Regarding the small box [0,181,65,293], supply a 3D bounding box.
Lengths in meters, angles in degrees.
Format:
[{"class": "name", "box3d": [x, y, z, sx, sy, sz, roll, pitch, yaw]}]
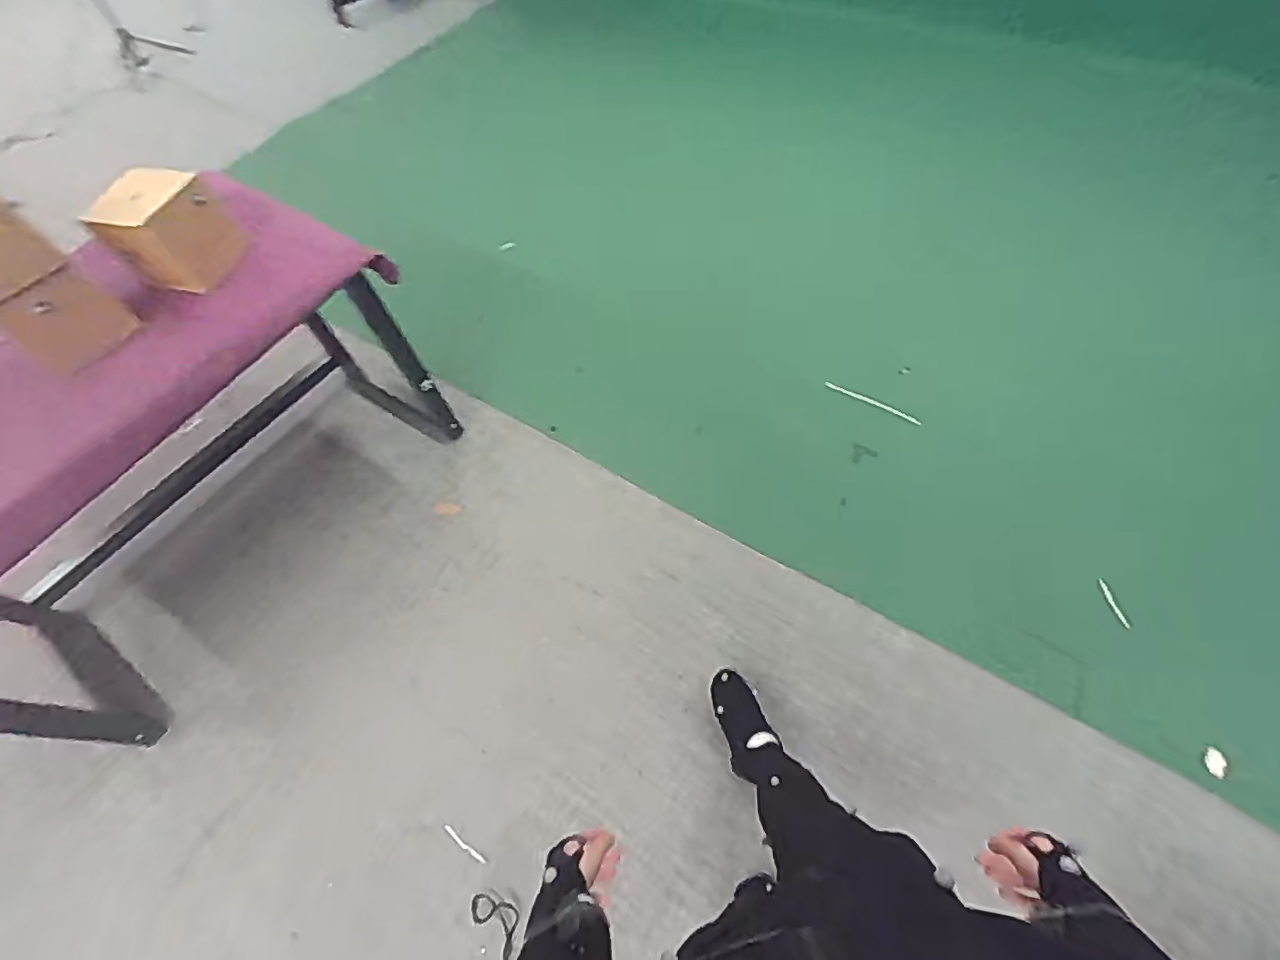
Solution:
[{"class": "small box", "box3d": [-1.143, -0.435, 0.911, 0.168, 0.176, 0.179, 35, 68, 22]}]

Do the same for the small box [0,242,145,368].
[{"class": "small box", "box3d": [-1.143, -0.352, 1.053, 0.168, 0.176, 0.179, 34, 67, 21]}]

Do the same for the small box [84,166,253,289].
[{"class": "small box", "box3d": [-0.982, -0.531, 1.147, 0.168, 0.176, 0.179, 11, 61, 11]}]
